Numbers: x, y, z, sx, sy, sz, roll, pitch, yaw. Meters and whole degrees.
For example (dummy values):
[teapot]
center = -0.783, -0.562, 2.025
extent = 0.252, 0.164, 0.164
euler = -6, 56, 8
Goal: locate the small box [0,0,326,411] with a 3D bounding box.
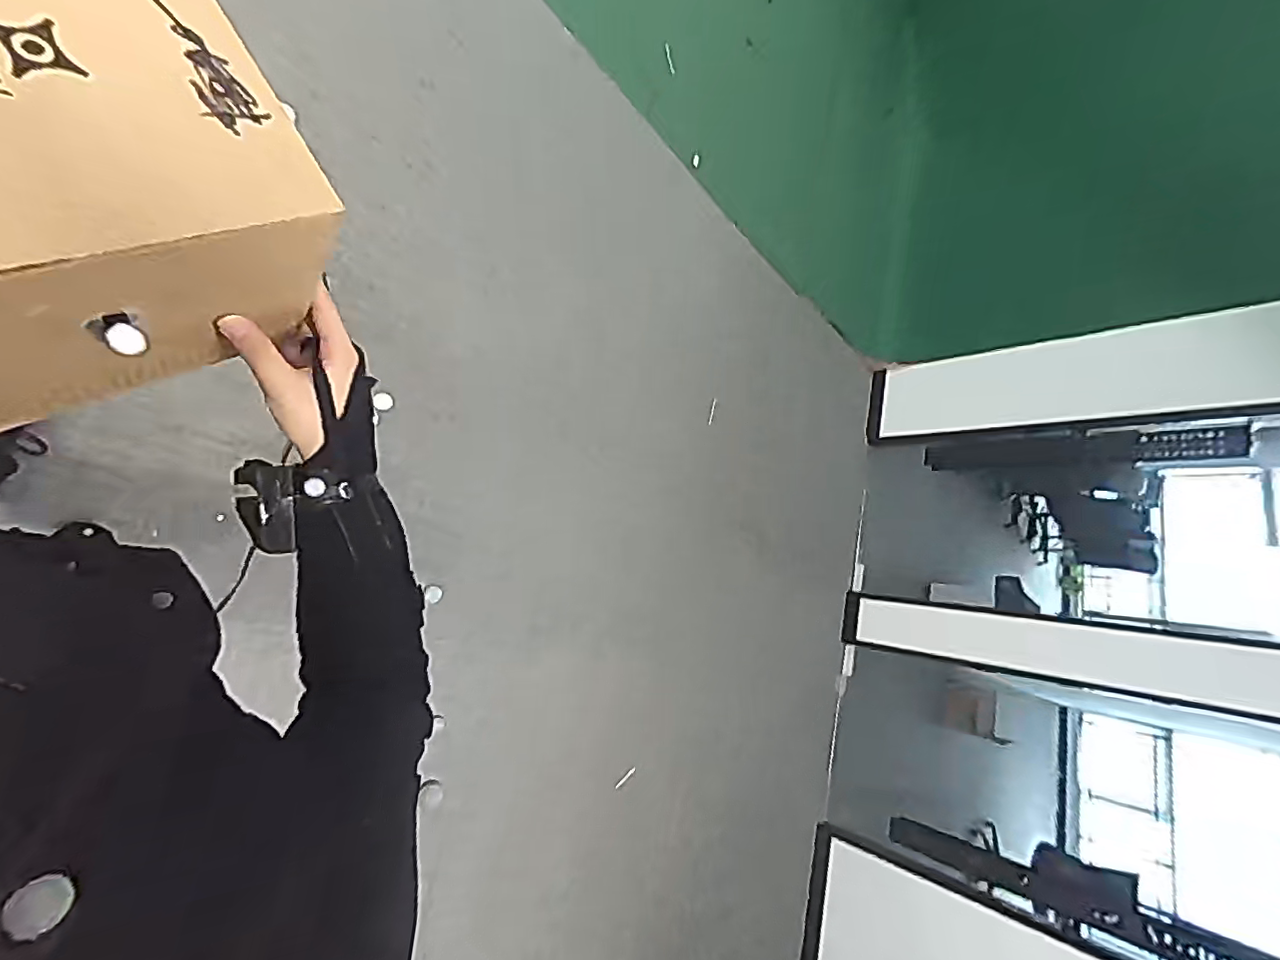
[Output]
[small box]
center = -0.297, -0.153, 0.267
extent = 0.179, 0.176, 0.168
euler = -38, 105, -38
